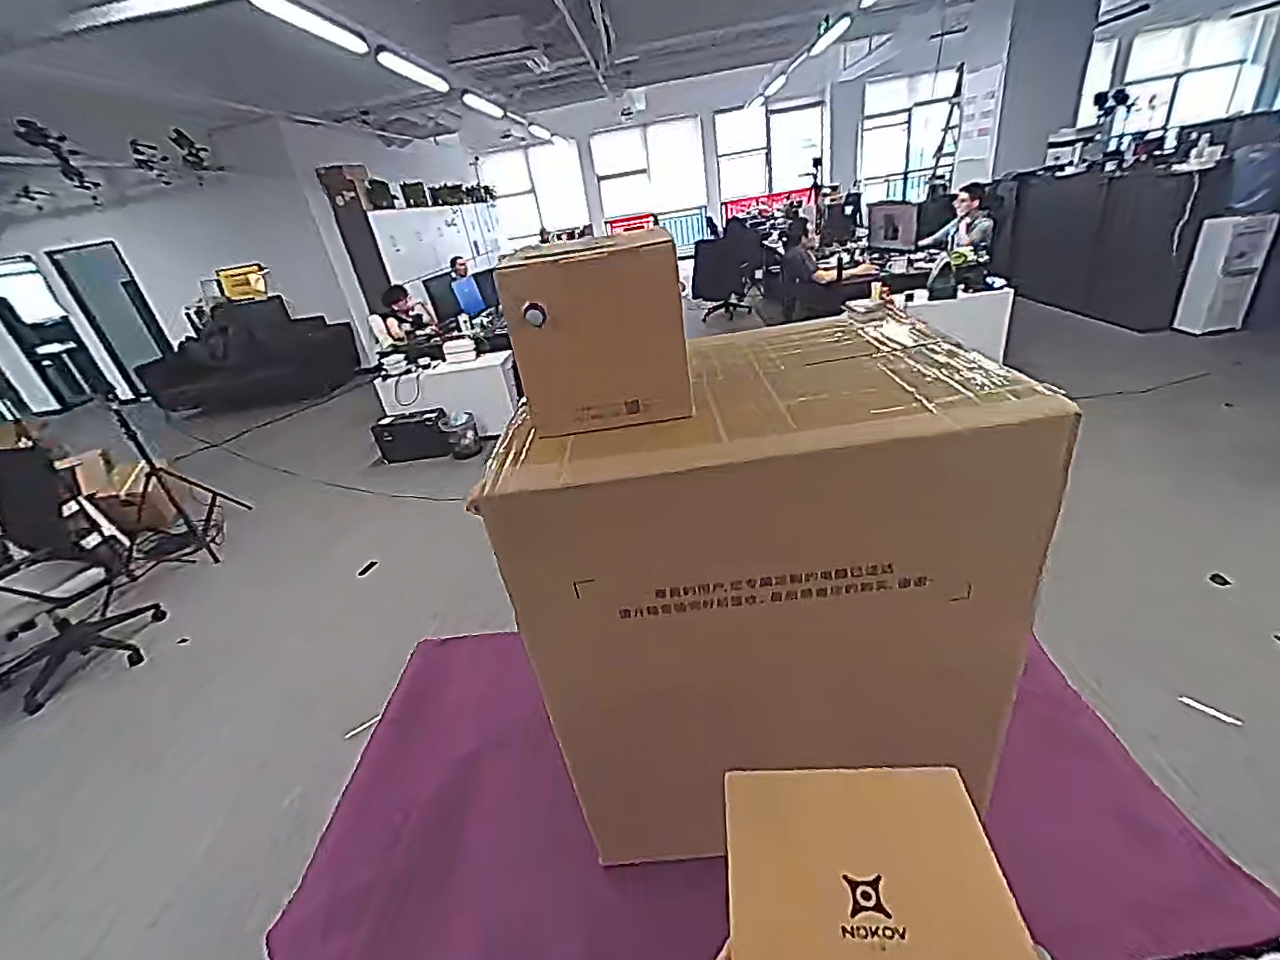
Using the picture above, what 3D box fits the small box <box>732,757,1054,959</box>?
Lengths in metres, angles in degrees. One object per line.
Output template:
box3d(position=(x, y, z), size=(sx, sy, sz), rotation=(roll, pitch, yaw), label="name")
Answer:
box3d(position=(0.152, 0.315, 0.355), size=(0.168, 0.176, 0.179), rotation=(-6, 26, 9), label="small box")
